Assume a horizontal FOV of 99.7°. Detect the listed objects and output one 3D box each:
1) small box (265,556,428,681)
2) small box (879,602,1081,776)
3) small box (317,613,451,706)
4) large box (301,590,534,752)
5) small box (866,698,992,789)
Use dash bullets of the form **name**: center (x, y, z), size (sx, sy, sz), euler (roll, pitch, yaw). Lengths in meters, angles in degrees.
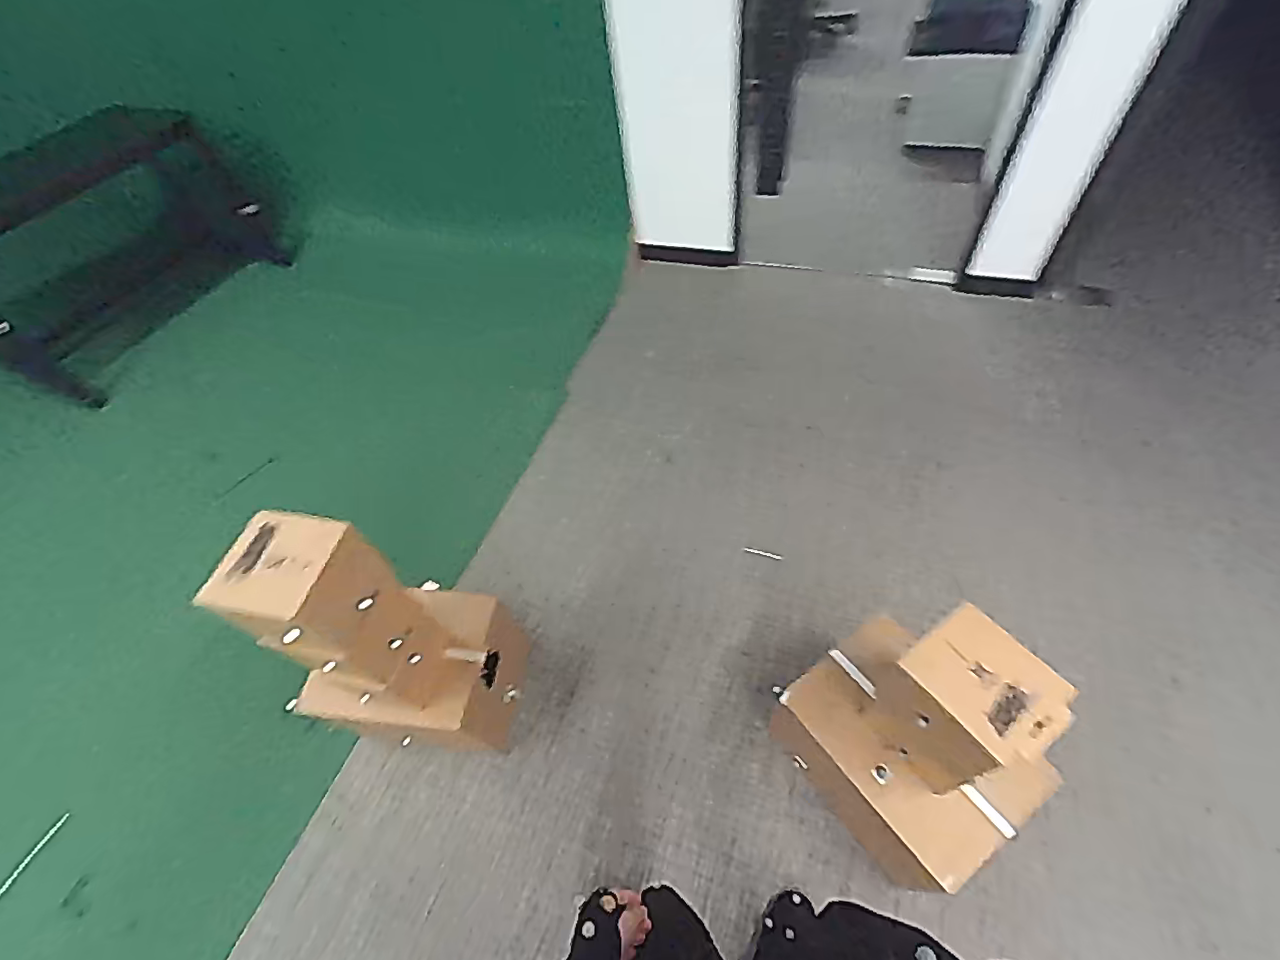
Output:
- **small box**: center (-0.546, 0.268, 1.032), size (0.179, 0.176, 0.168), euler (8, 55, 13)
- **small box**: center (0.509, 0.330, 0.839), size (0.168, 0.176, 0.179), euler (-31, 55, -16)
- **small box**: center (-0.534, 0.368, 1.159), size (0.168, 0.176, 0.179), euler (7, 55, 12)
- **large box**: center (-0.528, 0.487, 1.378), size (0.408, 0.320, 0.320), euler (1, 53, 10)
- **small box**: center (0.544, 0.425, 0.970), size (0.168, 0.176, 0.179), euler (-35, 58, -19)
